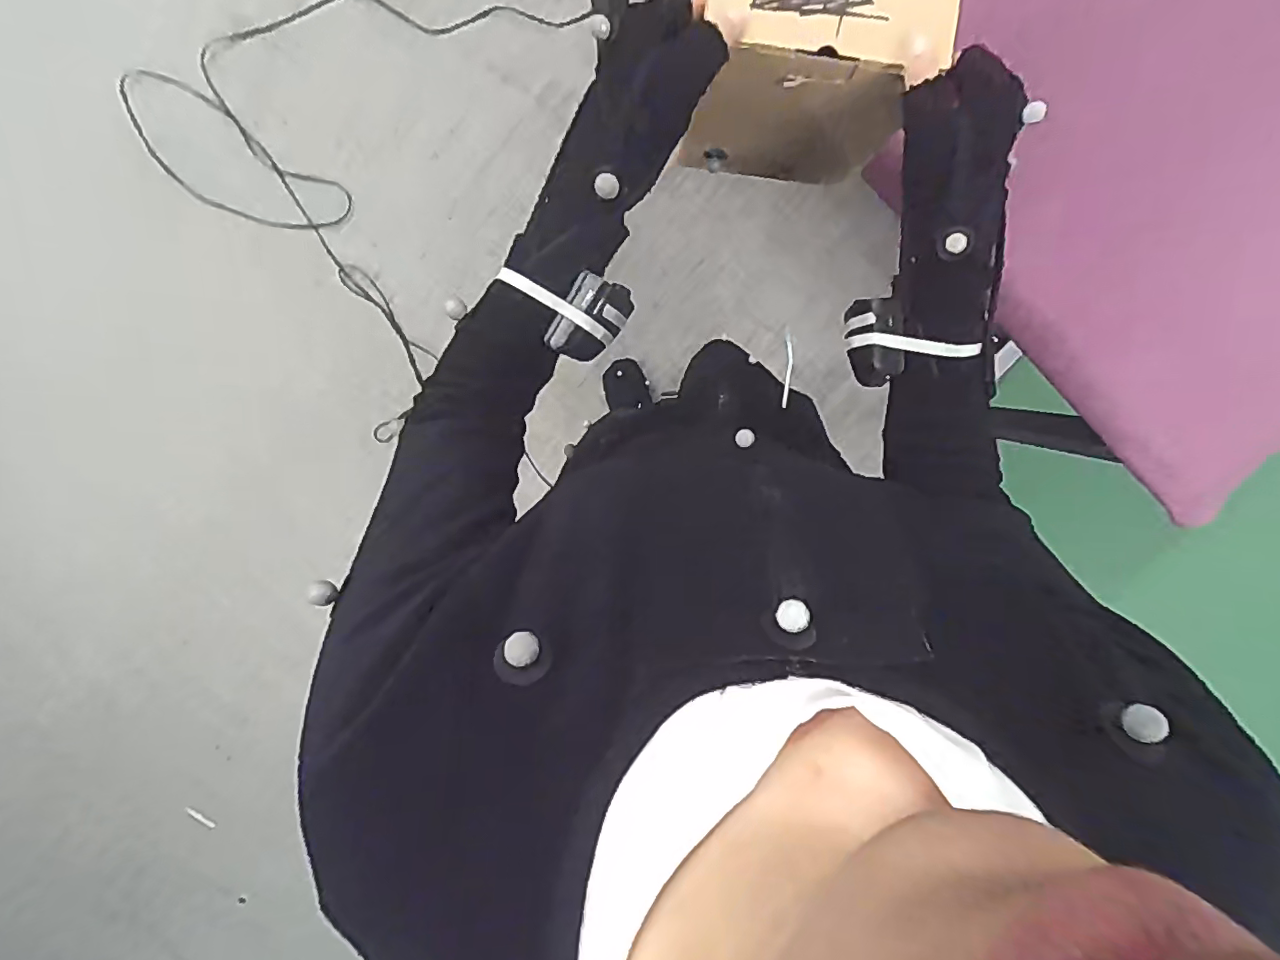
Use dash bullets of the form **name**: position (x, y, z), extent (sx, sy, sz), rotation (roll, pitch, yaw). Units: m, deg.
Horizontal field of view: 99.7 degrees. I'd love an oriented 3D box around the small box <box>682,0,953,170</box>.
- **small box**: position (0.128, -0.377, 0.427), extent (0.168, 0.176, 0.179), rotation (6, 94, -2)
